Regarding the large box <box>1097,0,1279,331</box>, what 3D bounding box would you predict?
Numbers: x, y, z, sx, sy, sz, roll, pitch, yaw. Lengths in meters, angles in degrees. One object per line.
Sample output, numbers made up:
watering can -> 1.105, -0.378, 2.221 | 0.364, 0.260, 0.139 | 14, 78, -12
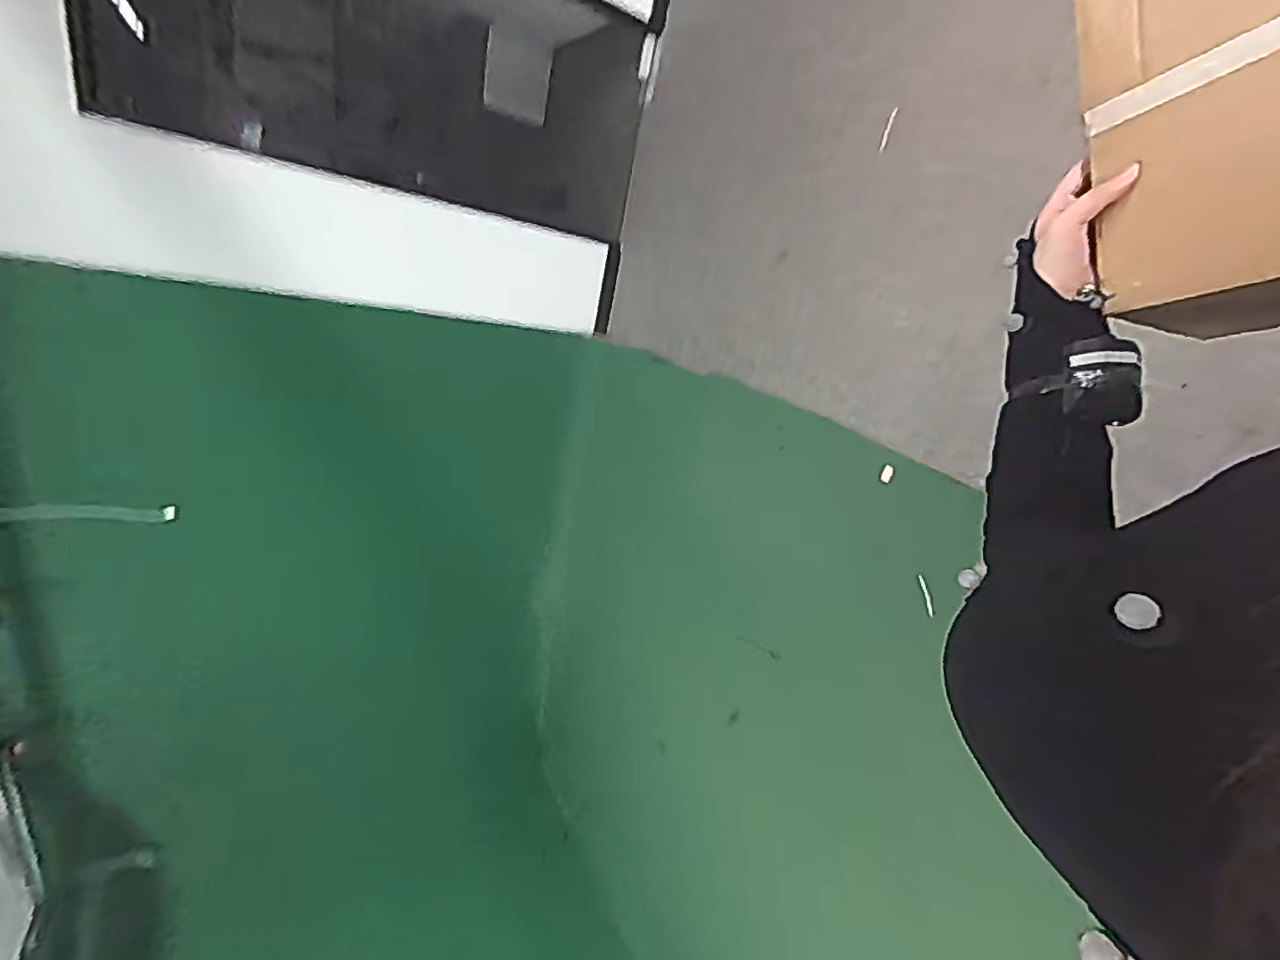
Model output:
large box -> 0.625, -0.310, 0.363 | 0.408, 0.320, 0.320 | -3, 91, 58
